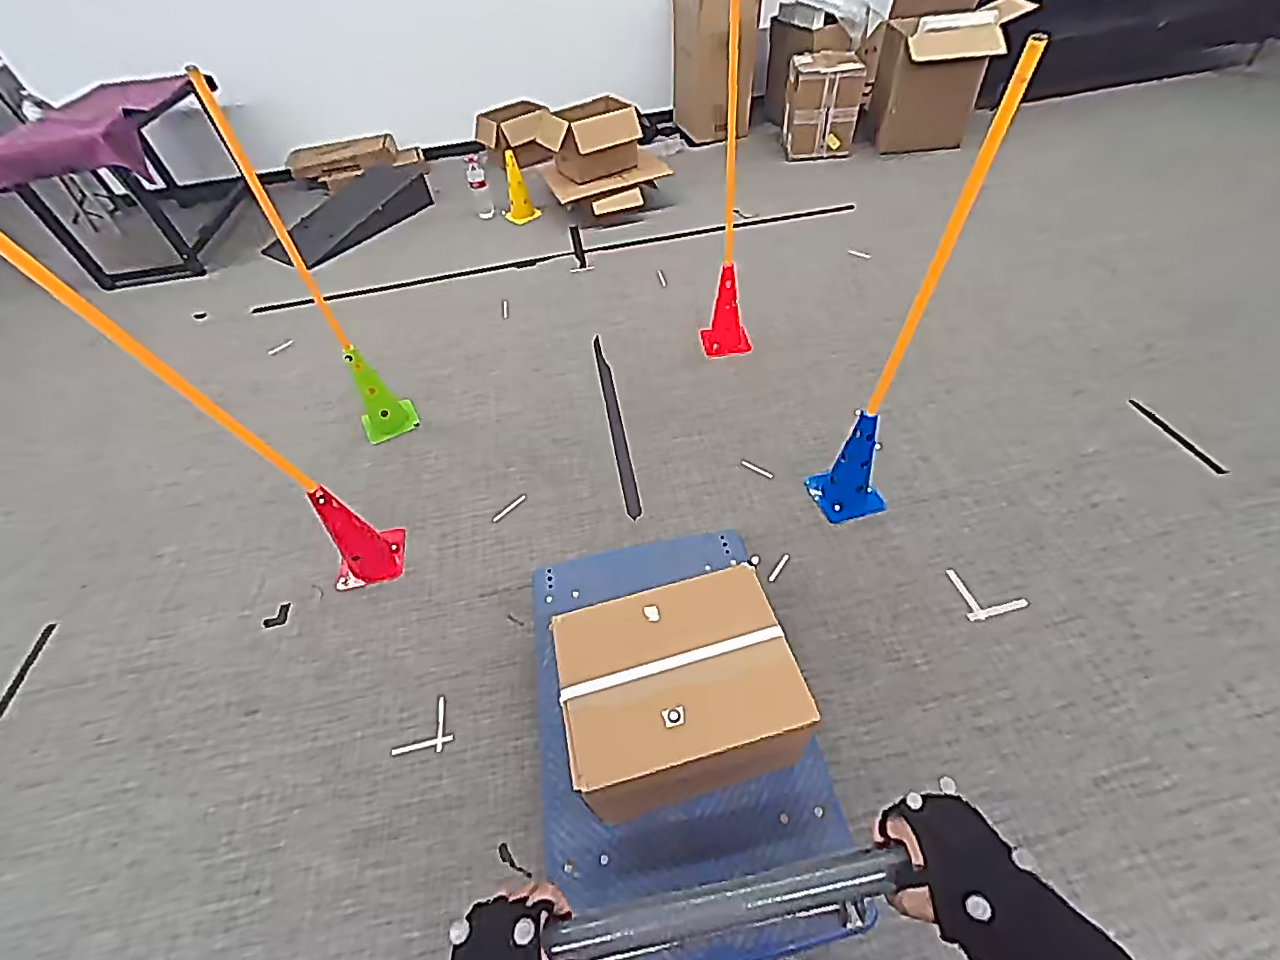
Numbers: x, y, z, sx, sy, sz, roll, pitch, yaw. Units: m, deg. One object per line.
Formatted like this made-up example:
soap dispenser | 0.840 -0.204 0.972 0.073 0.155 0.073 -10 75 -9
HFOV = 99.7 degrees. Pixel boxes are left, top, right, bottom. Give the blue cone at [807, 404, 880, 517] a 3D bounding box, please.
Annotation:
blue cone | 0.656 -0.073 1.653 0.193 0.380 0.192 -14 48 -6

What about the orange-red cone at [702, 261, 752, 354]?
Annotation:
orange-red cone | 0.364 -0.723 2.220 0.199 0.360 0.198 -5 50 0
